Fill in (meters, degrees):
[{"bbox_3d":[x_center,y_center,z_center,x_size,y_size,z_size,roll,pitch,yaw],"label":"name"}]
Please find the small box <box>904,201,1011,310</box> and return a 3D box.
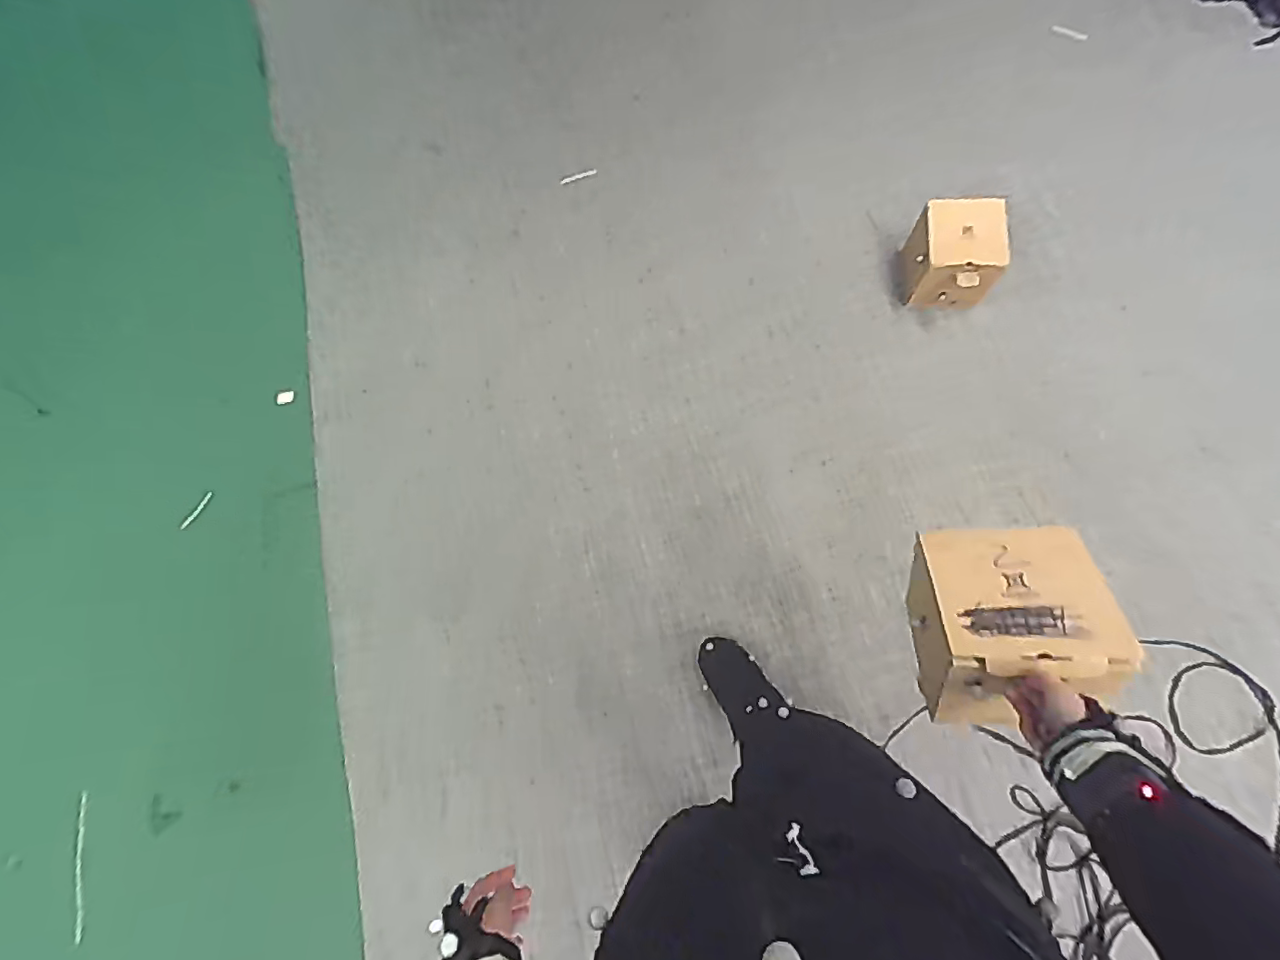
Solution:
[{"bbox_3d":[0.739,-0.527,1.277,0.168,0.176,0.179,3,76,8],"label":"small box"}]
